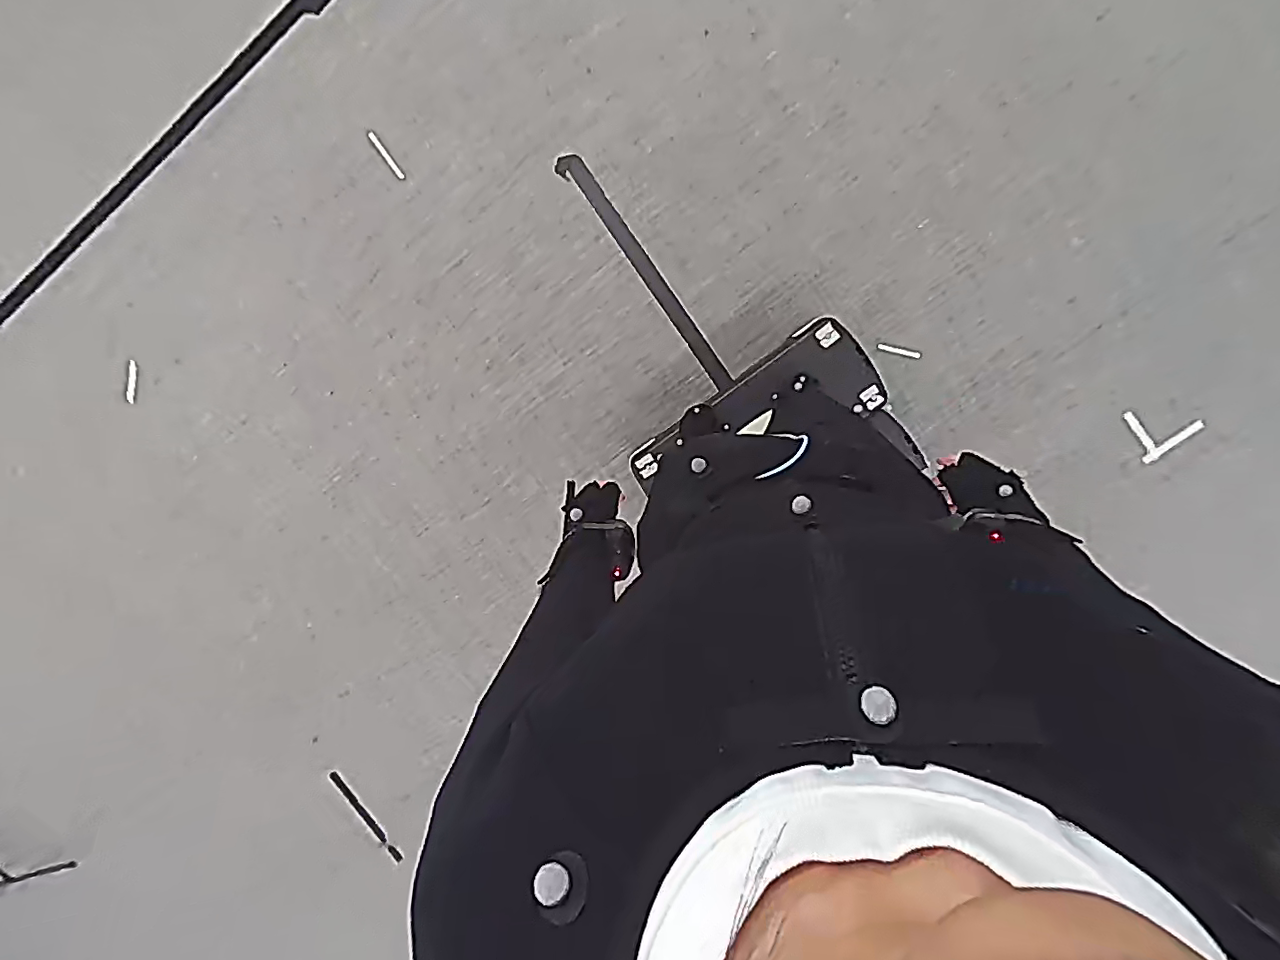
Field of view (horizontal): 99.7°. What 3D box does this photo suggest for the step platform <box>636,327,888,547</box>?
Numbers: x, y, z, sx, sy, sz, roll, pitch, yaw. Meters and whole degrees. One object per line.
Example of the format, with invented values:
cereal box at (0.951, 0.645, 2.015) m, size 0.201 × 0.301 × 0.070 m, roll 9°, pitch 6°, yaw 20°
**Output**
step platform at (0.320, -0.113, 1.498) m, size 0.684 × 0.204 × 0.286 m, roll -37°, pitch 95°, yaw 8°
